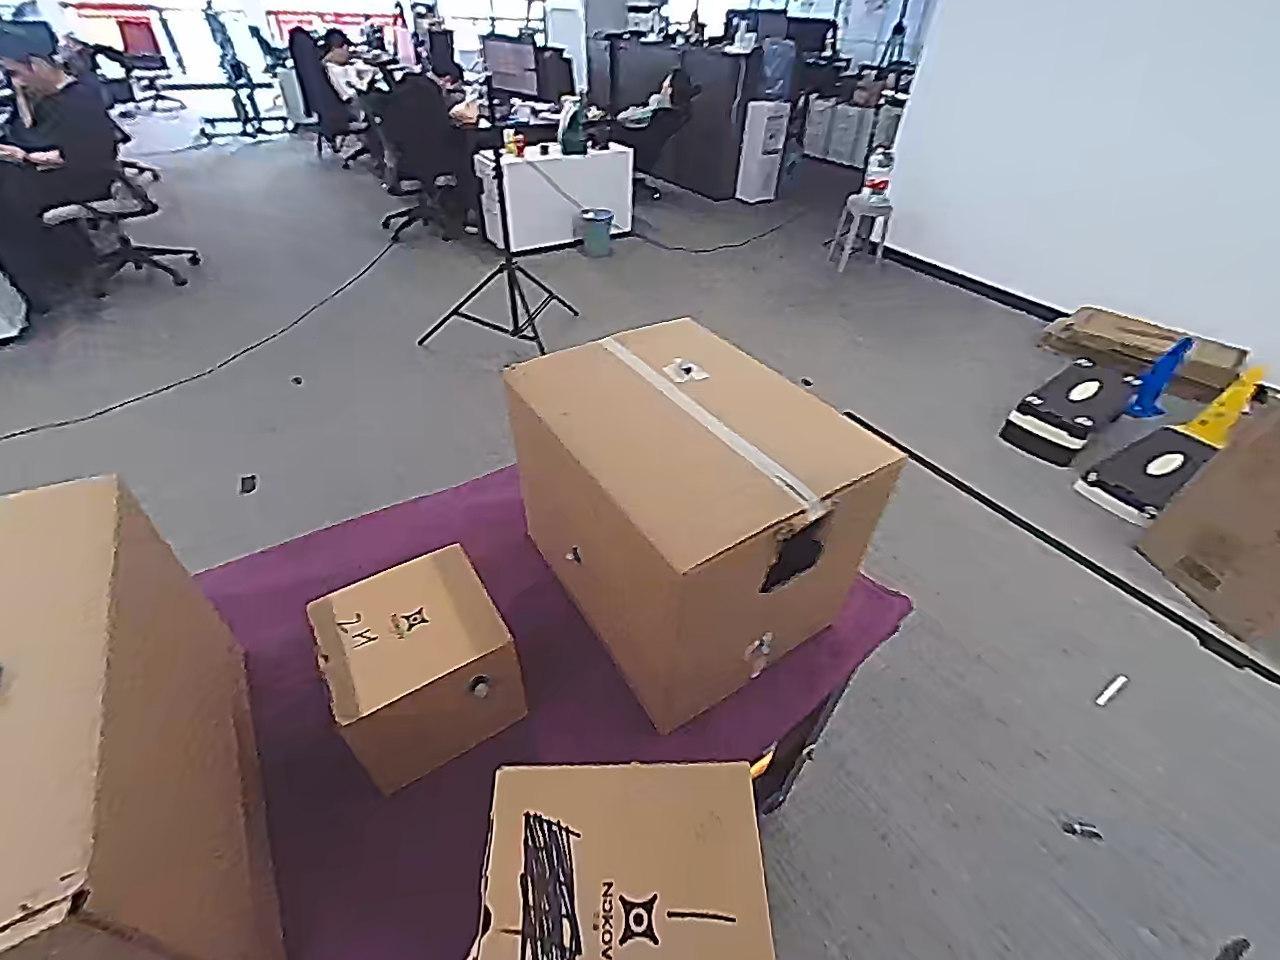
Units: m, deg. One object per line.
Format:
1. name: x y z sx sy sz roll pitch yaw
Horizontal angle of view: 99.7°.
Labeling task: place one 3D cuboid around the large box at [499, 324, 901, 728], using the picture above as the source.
1. large box: 0.051 0.033 0.741 0.320 0.320 0.408 -22 45 -26

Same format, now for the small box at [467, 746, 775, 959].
1. small box: -0.011 0.298 0.382 0.179 0.176 0.168 0 51 -2
